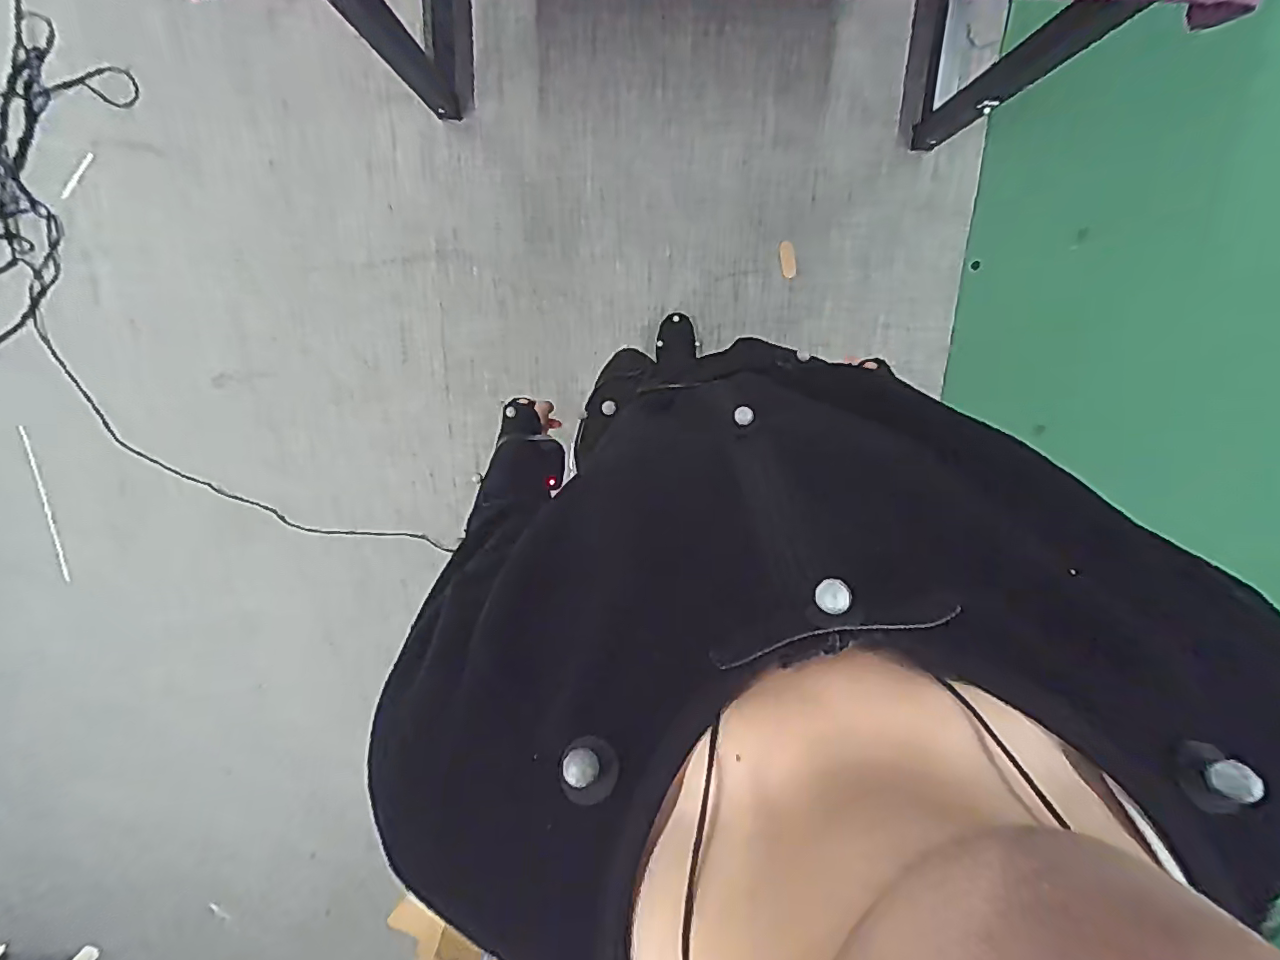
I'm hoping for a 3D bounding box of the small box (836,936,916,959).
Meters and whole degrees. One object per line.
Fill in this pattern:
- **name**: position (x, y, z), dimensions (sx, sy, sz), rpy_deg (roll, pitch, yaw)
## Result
- **small box**: position (0.556, 1.183, 1.218), dimensions (0.179, 0.176, 0.168), rpy_deg (-12, 103, 4)
